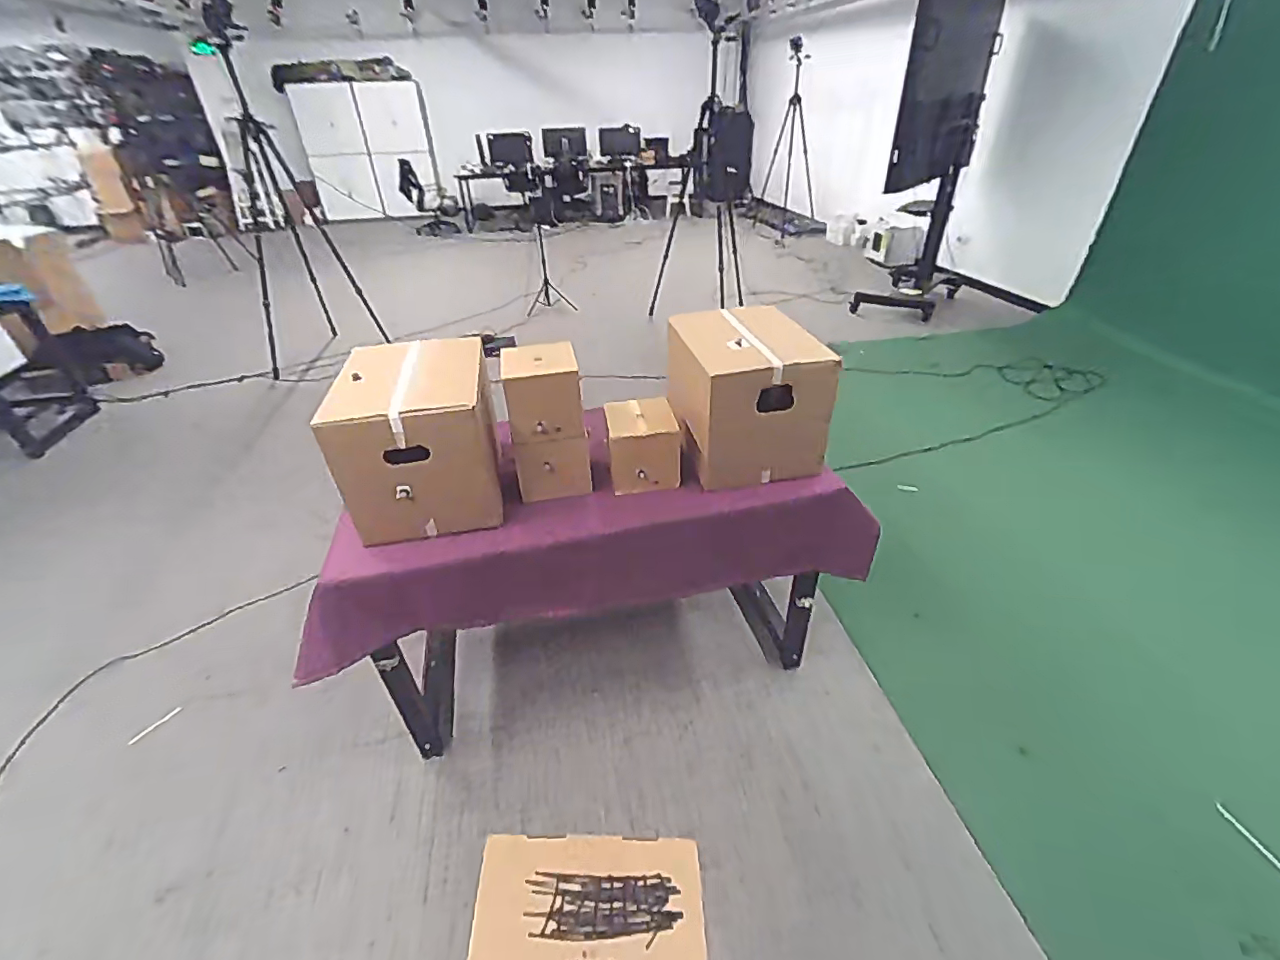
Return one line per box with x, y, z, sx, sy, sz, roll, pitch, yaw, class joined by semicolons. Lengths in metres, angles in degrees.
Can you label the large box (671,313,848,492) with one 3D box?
0.280;-0.219;1.429;0.320;0.320;0.408;-7;36;-8;large box
